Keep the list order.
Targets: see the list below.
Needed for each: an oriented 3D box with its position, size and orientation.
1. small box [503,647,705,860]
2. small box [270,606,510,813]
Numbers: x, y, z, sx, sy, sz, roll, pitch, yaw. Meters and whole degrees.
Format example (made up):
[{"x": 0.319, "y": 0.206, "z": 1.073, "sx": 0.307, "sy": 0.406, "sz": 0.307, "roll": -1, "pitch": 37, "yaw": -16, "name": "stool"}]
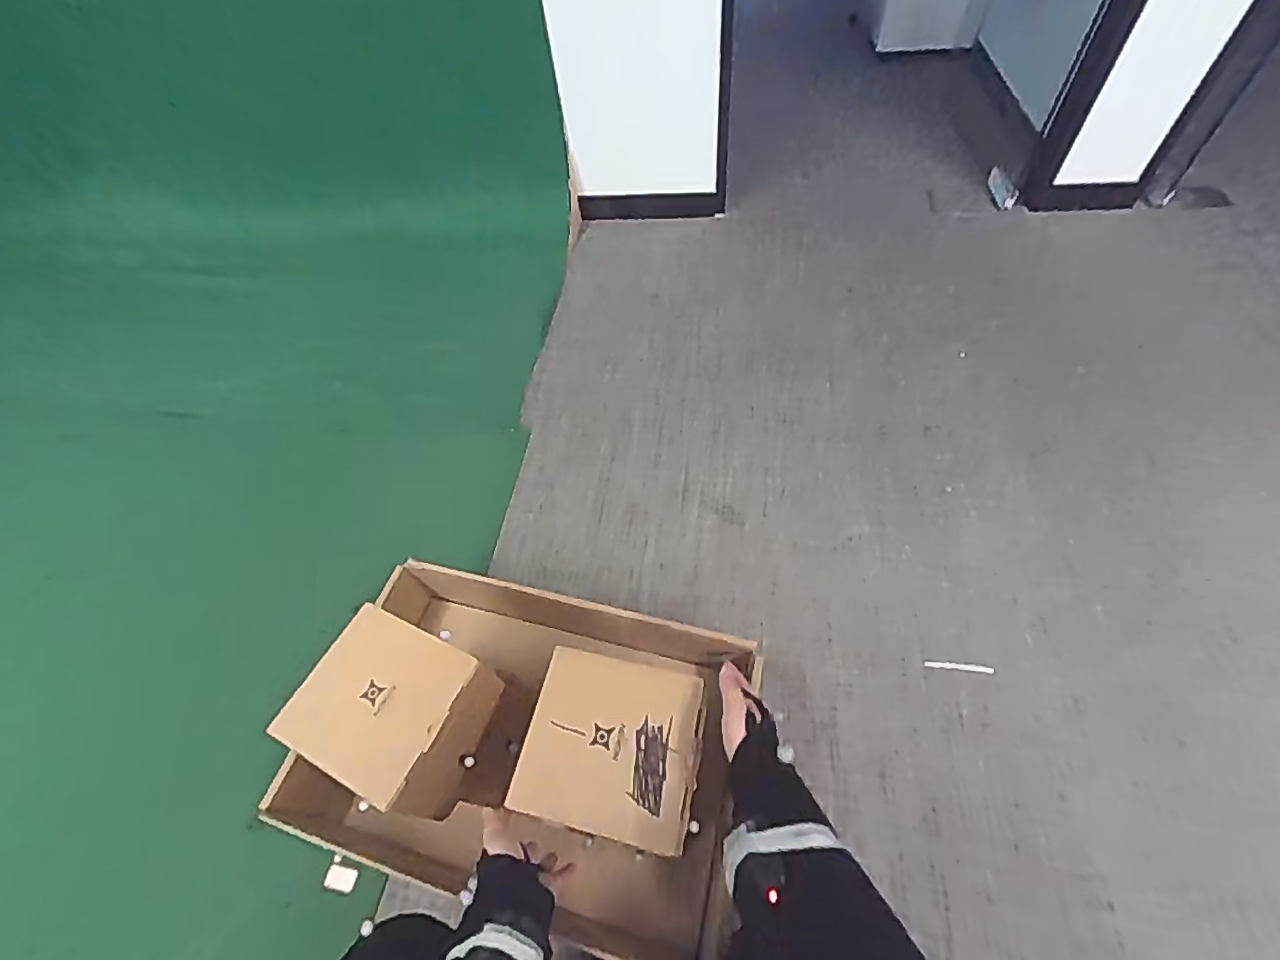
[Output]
[{"x": -0.026, "y": 0.313, "z": 0.620, "sx": 0.179, "sy": 0.176, "sz": 0.168, "roll": 8, "pitch": 56, "yaw": 12, "name": "small box"}, {"x": -0.291, "y": 0.289, "z": 0.670, "sx": 0.179, "sy": 0.176, "sz": 0.168, "roll": 20, "pitch": 59, "yaw": 16, "name": "small box"}]
